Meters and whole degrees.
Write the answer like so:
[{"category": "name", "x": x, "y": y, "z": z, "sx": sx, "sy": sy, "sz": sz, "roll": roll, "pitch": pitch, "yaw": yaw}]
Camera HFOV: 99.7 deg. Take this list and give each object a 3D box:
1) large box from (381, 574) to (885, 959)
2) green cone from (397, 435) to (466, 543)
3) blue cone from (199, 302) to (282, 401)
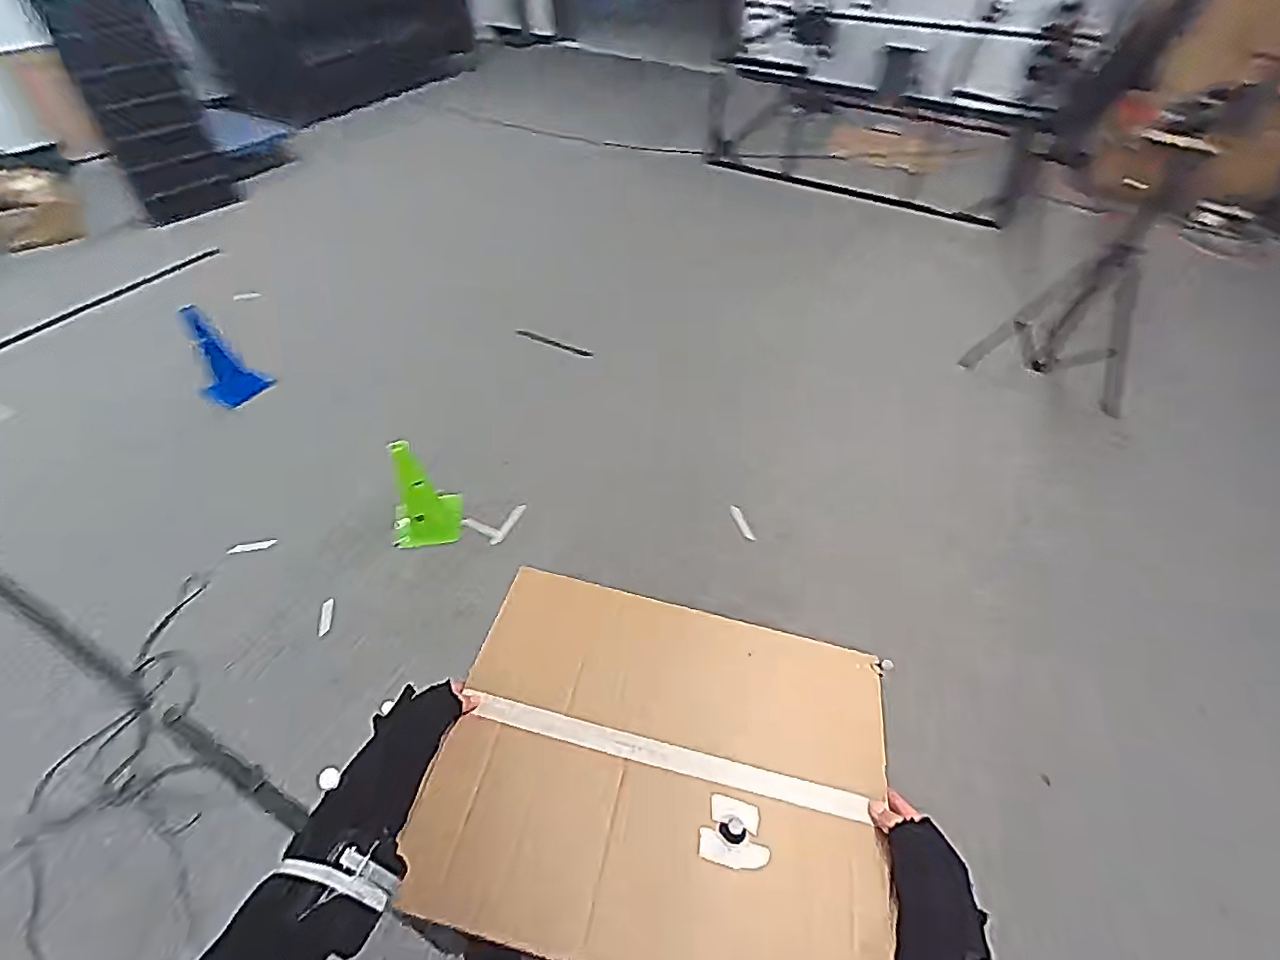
[{"category": "large box", "x": 0.003, "y": 0.355, "z": 0.613, "sx": 0.408, "sy": 0.320, "sz": 0.320, "roll": 13, "pitch": 48, "yaw": 4}, {"category": "green cone", "x": -0.678, "y": 0.008, "z": 1.676, "sx": 0.200, "sy": 0.368, "sz": 0.202, "roll": -5, "pitch": 48, "yaw": -9}, {"category": "blue cone", "x": -1.596, "y": -0.507, "z": 2.092, "sx": 0.193, "sy": 0.380, "sz": 0.192, "roll": 26, "pitch": 52, "yaw": 18}]
